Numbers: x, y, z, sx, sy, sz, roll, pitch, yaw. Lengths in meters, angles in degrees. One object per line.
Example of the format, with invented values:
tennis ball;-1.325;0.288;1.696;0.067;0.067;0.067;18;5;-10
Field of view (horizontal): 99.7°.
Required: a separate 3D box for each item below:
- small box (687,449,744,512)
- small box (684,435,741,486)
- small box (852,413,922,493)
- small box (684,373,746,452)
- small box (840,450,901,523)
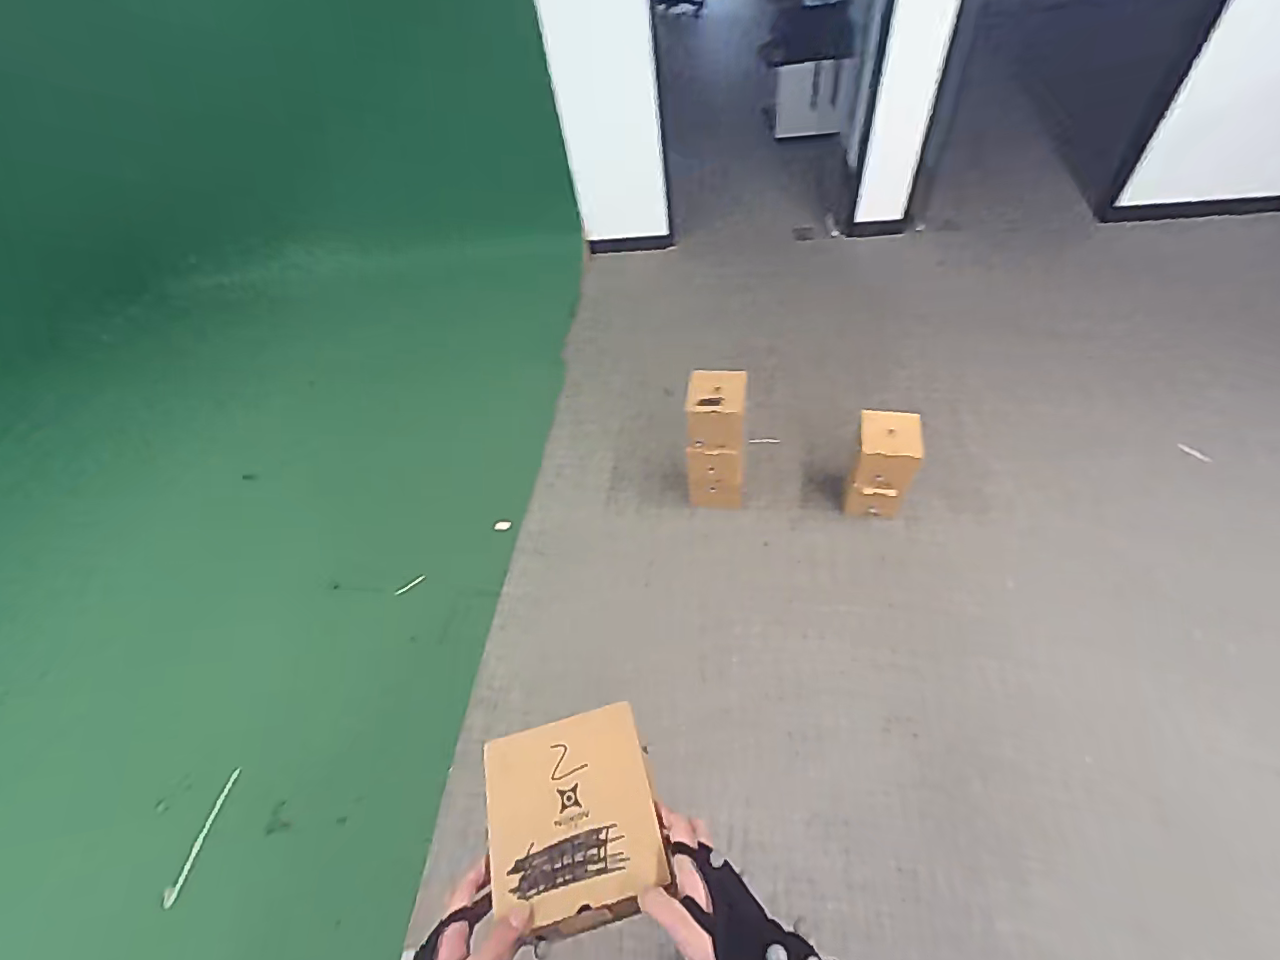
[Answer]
small box;0.269;-0.001;1.899;0.179;0.176;0.168;5;54;13
small box;0.243;-0.097;1.770;0.168;0.176;0.179;5;55;12
small box;0.758;-0.084;1.678;0.168;0.176;0.179;6;55;13
small box;0.233;-0.203;1.643;0.168;0.176;0.179;4;53;12
small box;0.770;0.016;1.803;0.168;0.176;0.179;9;56;18
